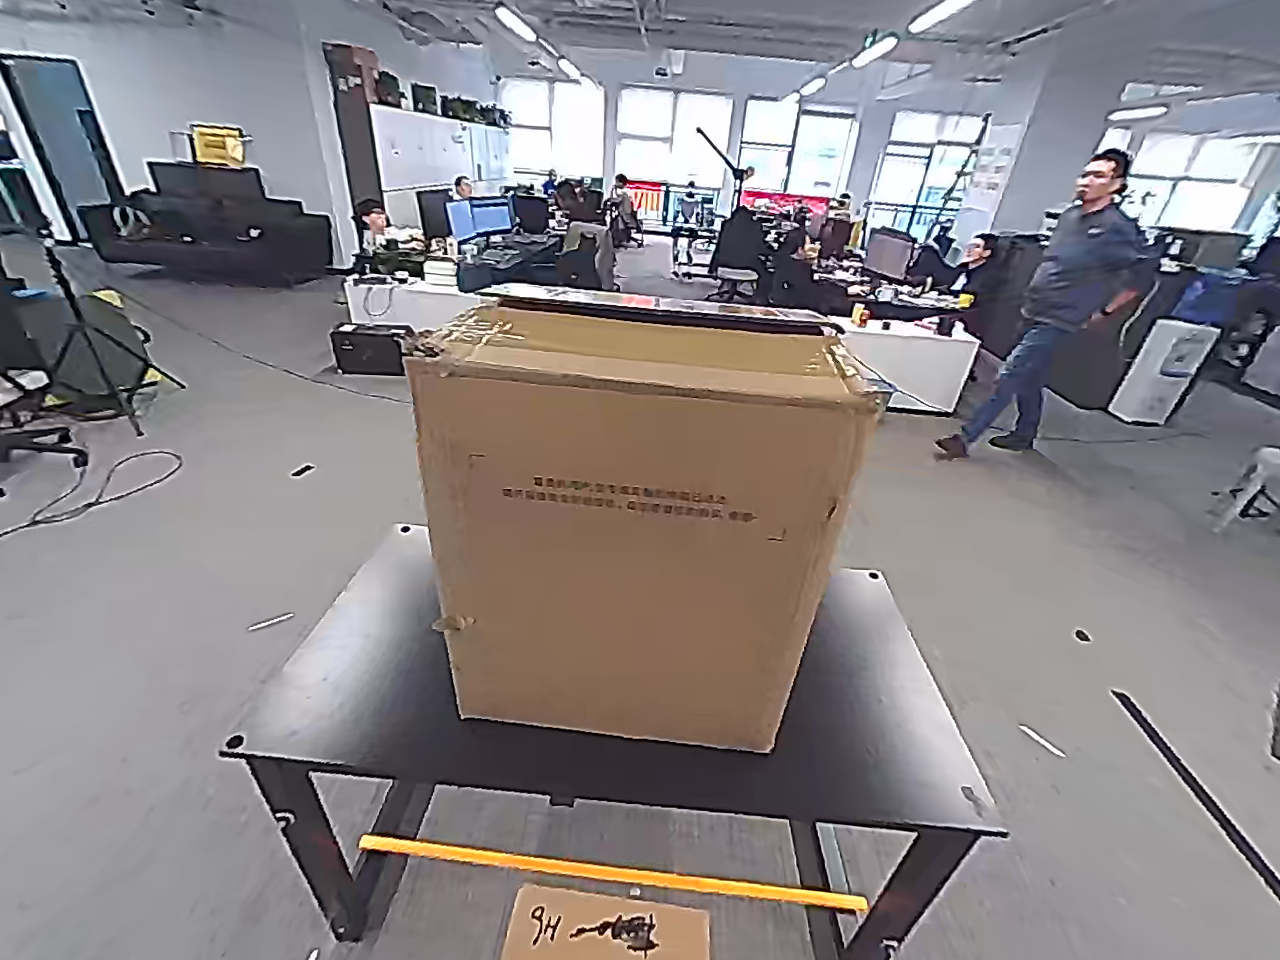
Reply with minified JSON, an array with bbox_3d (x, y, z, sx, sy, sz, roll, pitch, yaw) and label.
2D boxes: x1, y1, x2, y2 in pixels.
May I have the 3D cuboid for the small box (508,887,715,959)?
[{"bbox_3d":[-0.032,0.470,0.444,0.168,0.176,0.179,7,41,2],"label":"small box"}]
